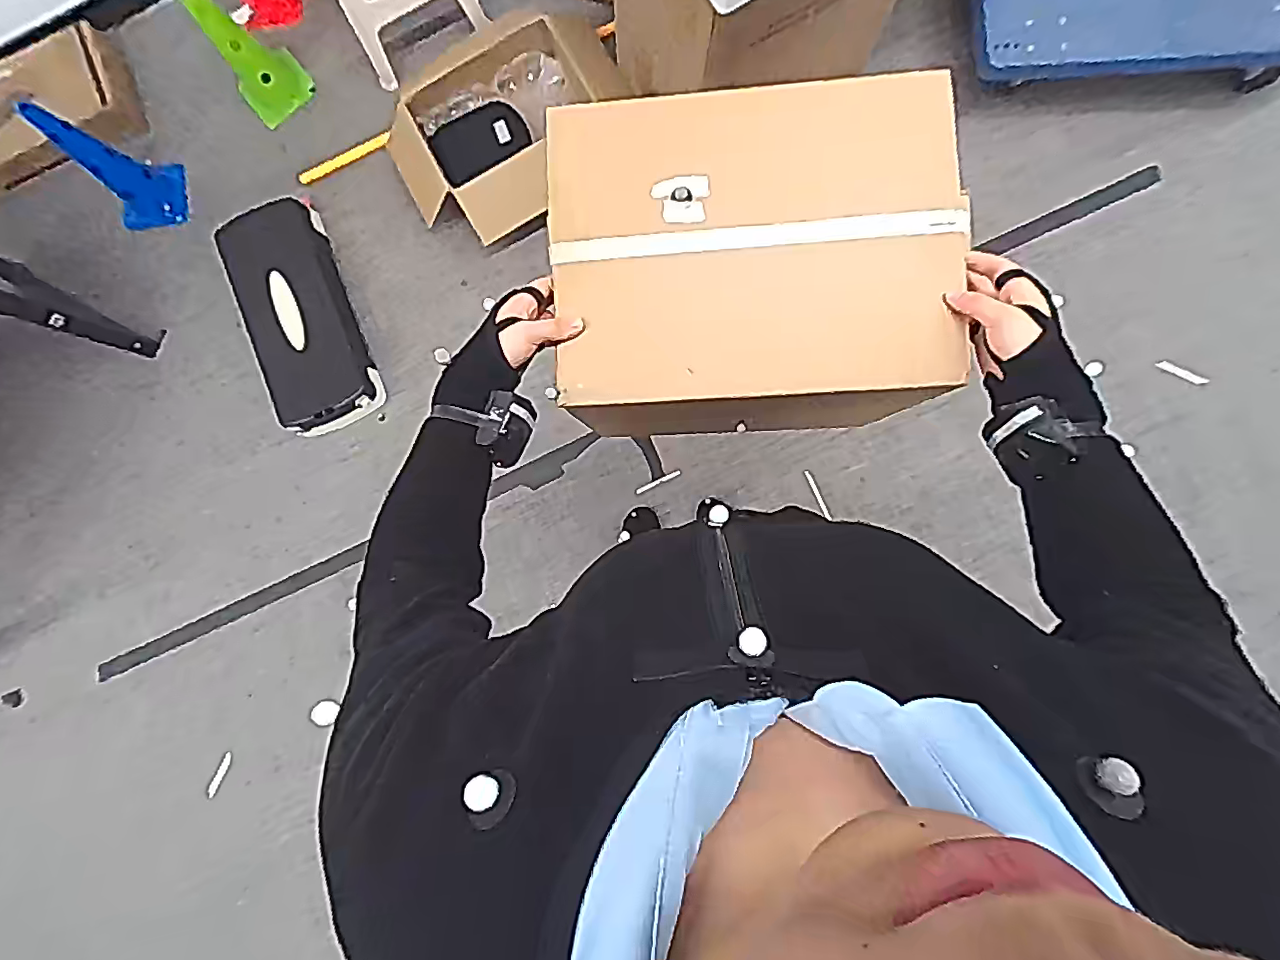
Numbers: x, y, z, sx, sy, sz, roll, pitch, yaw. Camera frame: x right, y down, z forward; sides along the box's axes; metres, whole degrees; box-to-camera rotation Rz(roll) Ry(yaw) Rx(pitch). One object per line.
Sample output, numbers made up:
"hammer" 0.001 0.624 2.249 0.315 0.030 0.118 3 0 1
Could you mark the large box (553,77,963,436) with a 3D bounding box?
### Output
"large box" 0.127 -0.234 0.698 0.408 0.320 0.320 -3 87 6
